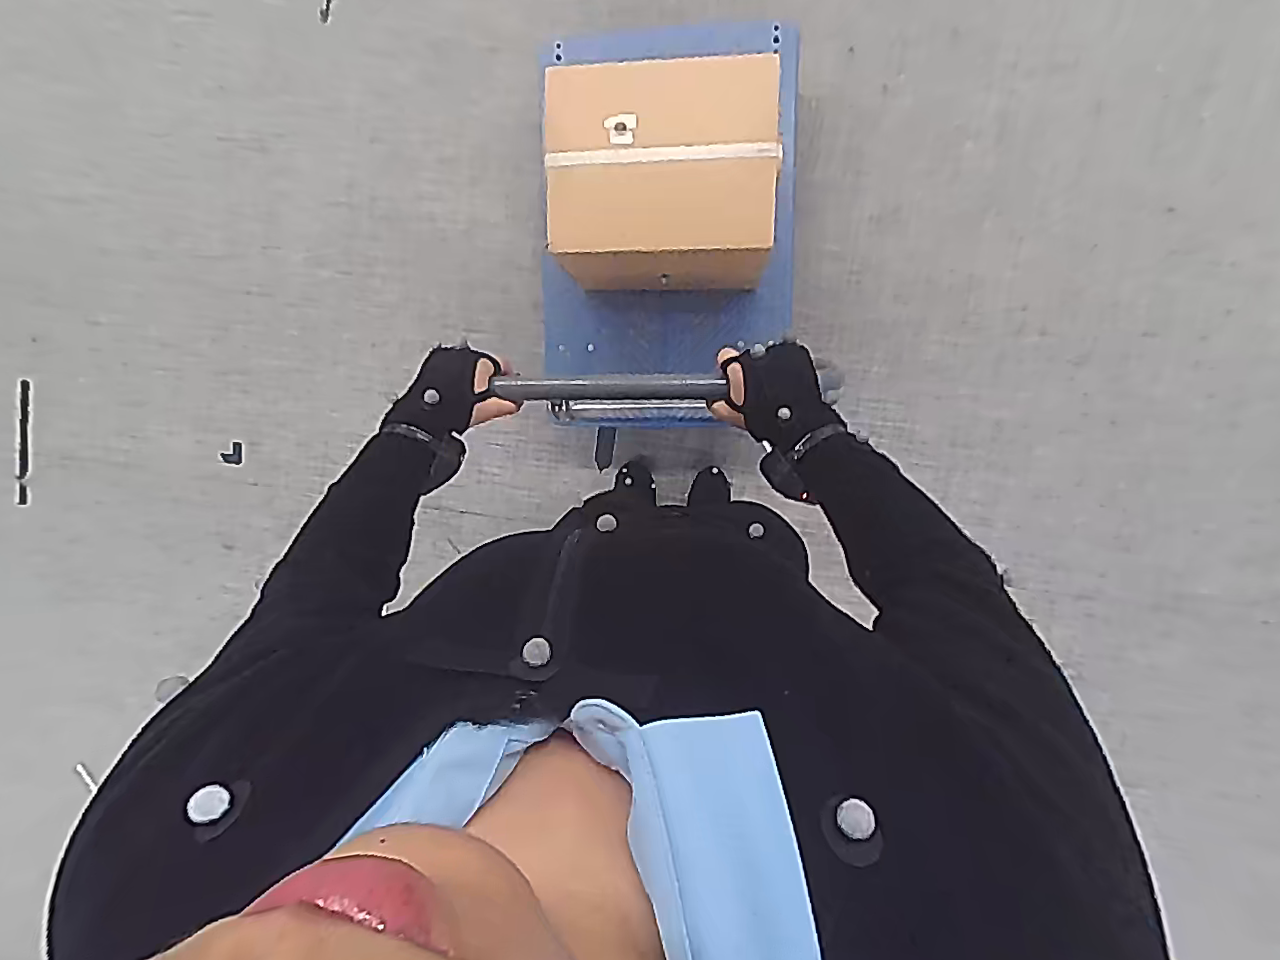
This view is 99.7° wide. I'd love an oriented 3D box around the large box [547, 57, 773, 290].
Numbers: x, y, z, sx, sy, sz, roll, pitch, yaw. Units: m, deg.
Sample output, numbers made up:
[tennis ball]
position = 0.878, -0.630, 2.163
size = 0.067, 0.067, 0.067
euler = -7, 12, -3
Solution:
[large box]
position = 0.052, -0.582, 1.100
size = 0.408, 0.320, 0.320
euler = 1, 96, 7
